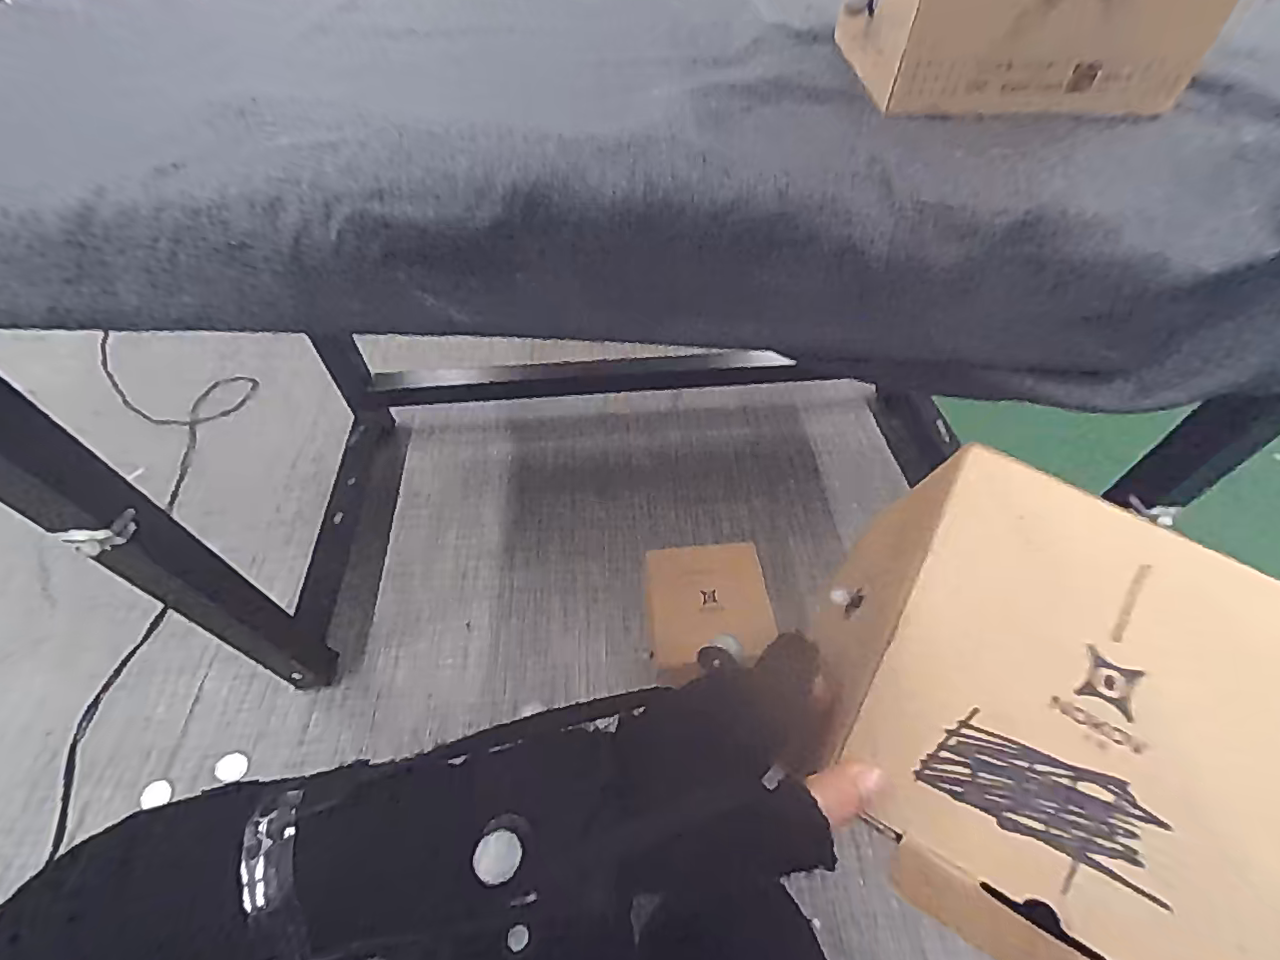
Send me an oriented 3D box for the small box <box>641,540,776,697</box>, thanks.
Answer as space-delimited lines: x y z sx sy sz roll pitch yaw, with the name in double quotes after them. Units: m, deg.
0.092 0.214 0.813 0.168 0.176 0.179 -5 50 -4 "small box"
